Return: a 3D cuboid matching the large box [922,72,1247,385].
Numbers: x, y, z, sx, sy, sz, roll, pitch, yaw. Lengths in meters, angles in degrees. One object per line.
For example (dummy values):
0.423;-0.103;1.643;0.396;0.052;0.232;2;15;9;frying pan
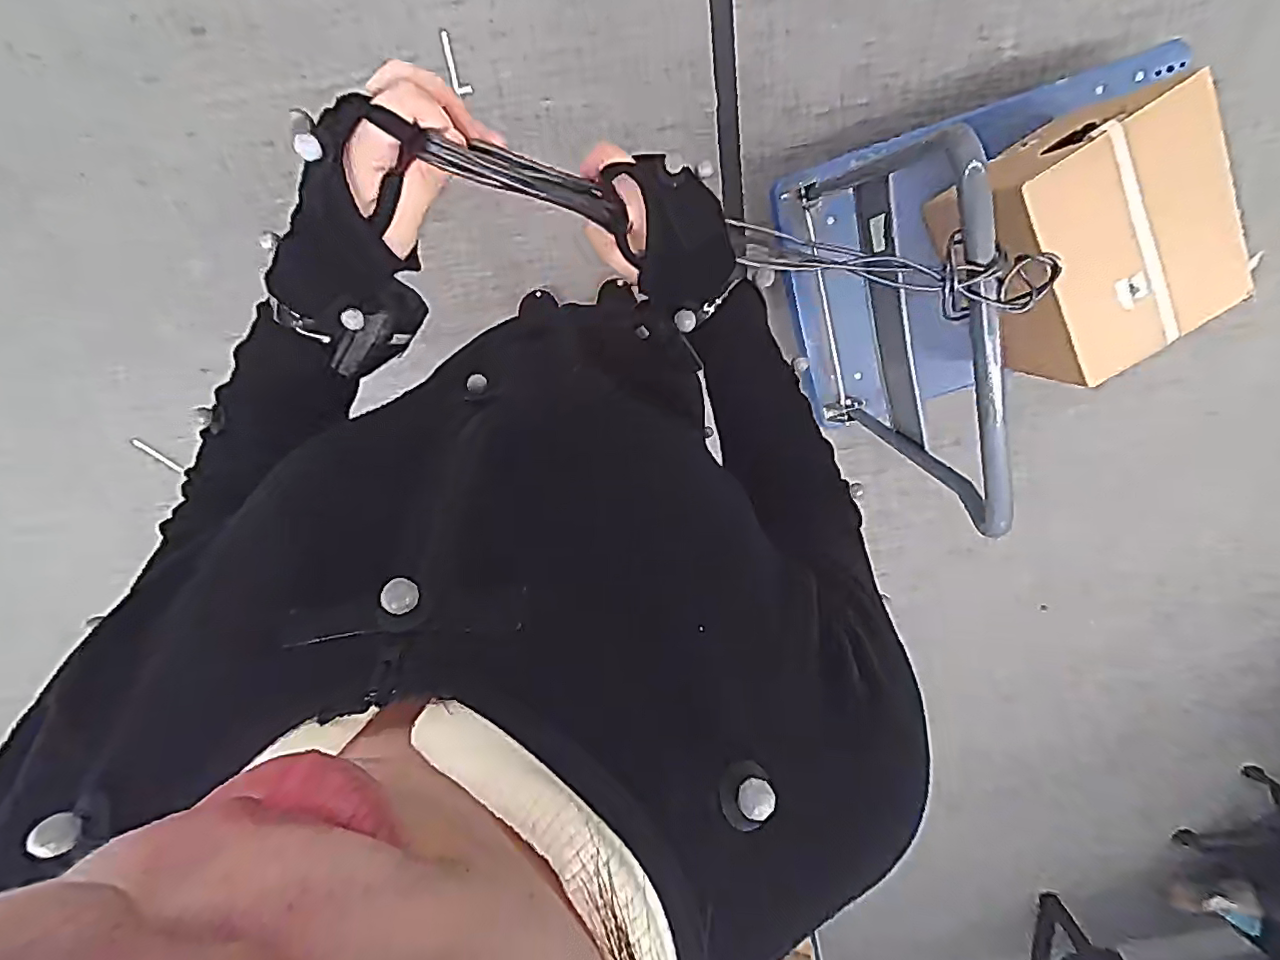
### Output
0.841;-0.459;1.061;0.320;0.320;0.408;-32;110;9;large box
